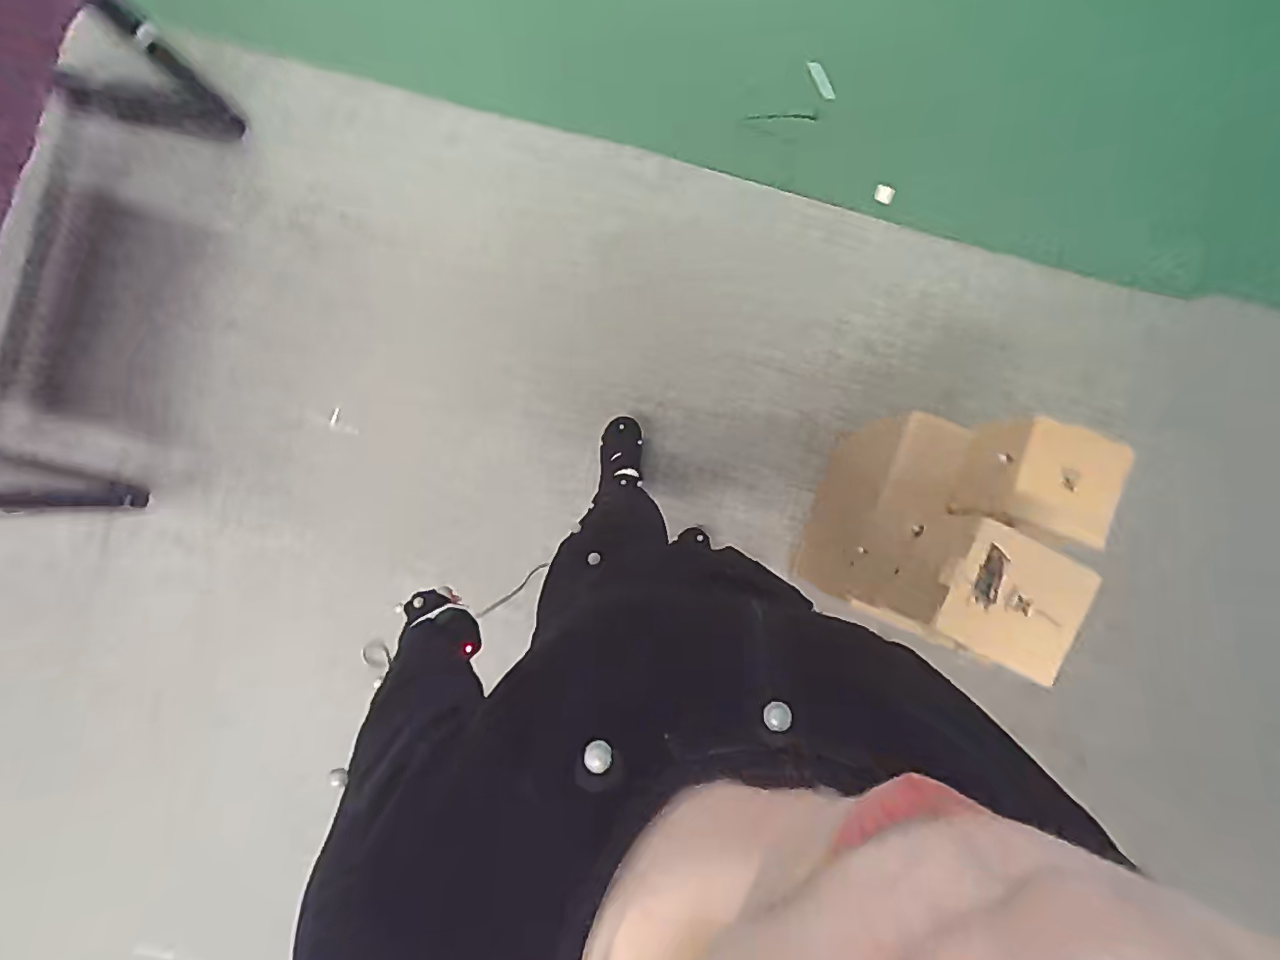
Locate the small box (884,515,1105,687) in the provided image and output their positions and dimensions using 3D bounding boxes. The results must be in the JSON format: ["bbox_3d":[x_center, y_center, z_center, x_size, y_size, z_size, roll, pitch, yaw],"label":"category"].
[{"bbox_3d":[0.491,0.161,0.780,0.179,0.176,0.168,28,89,0],"label":"small box"}]

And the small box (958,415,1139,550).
[{"bbox_3d":[0.697,0.006,0.946,0.168,0.176,0.179,21,88,2],"label":"small box"}]

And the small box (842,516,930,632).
[{"bbox_3d":[0.490,0.166,0.946,0.179,0.176,0.168,24,88,1],"label":"small box"}]
